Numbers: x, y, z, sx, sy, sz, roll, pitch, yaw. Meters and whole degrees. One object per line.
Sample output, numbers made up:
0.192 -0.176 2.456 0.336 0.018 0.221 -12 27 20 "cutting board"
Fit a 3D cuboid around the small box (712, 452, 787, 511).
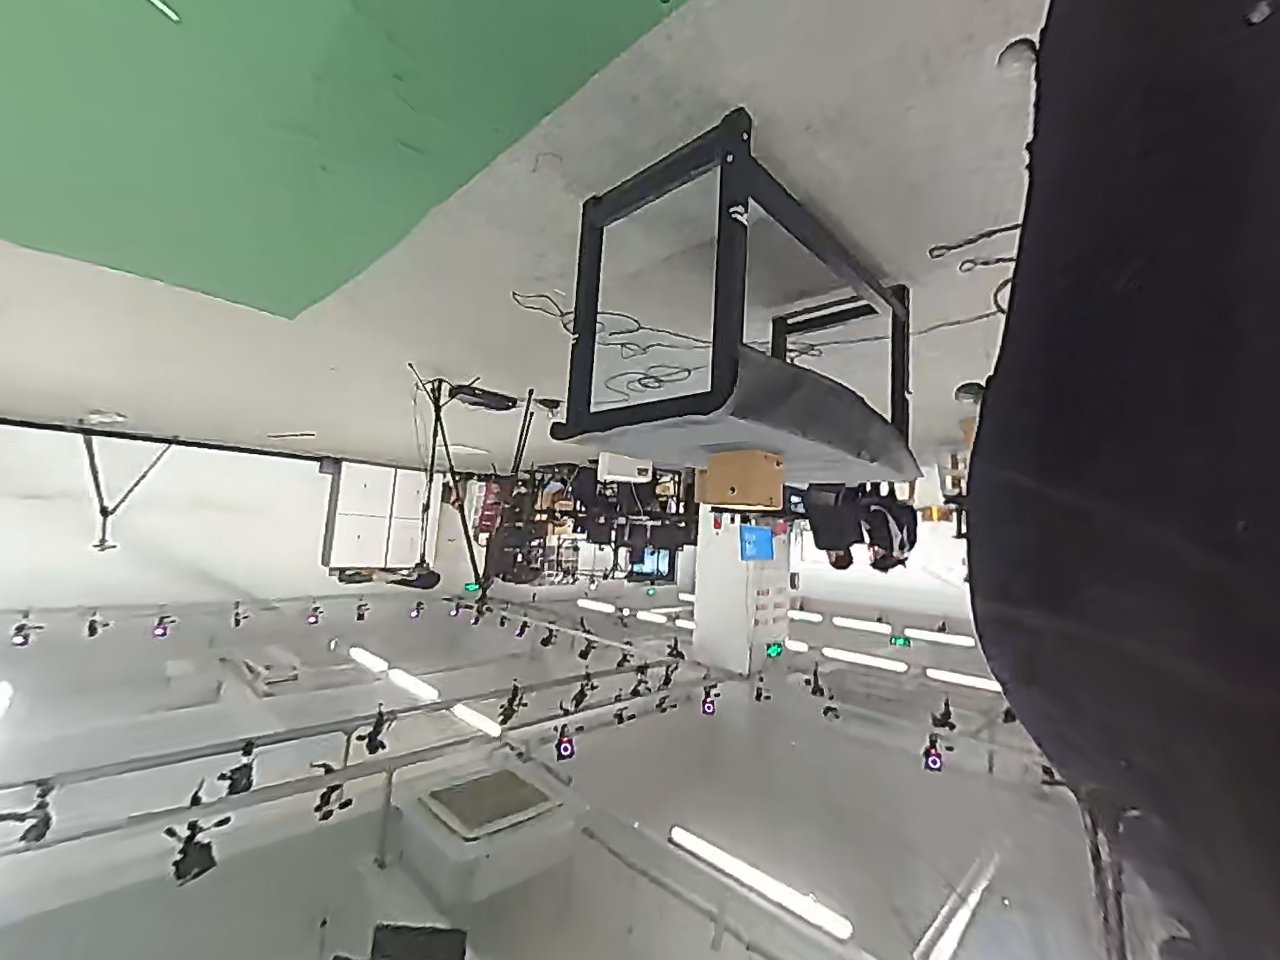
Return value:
0.342 0.006 1.678 0.168 0.176 0.179 9 173 -44 "small box"
